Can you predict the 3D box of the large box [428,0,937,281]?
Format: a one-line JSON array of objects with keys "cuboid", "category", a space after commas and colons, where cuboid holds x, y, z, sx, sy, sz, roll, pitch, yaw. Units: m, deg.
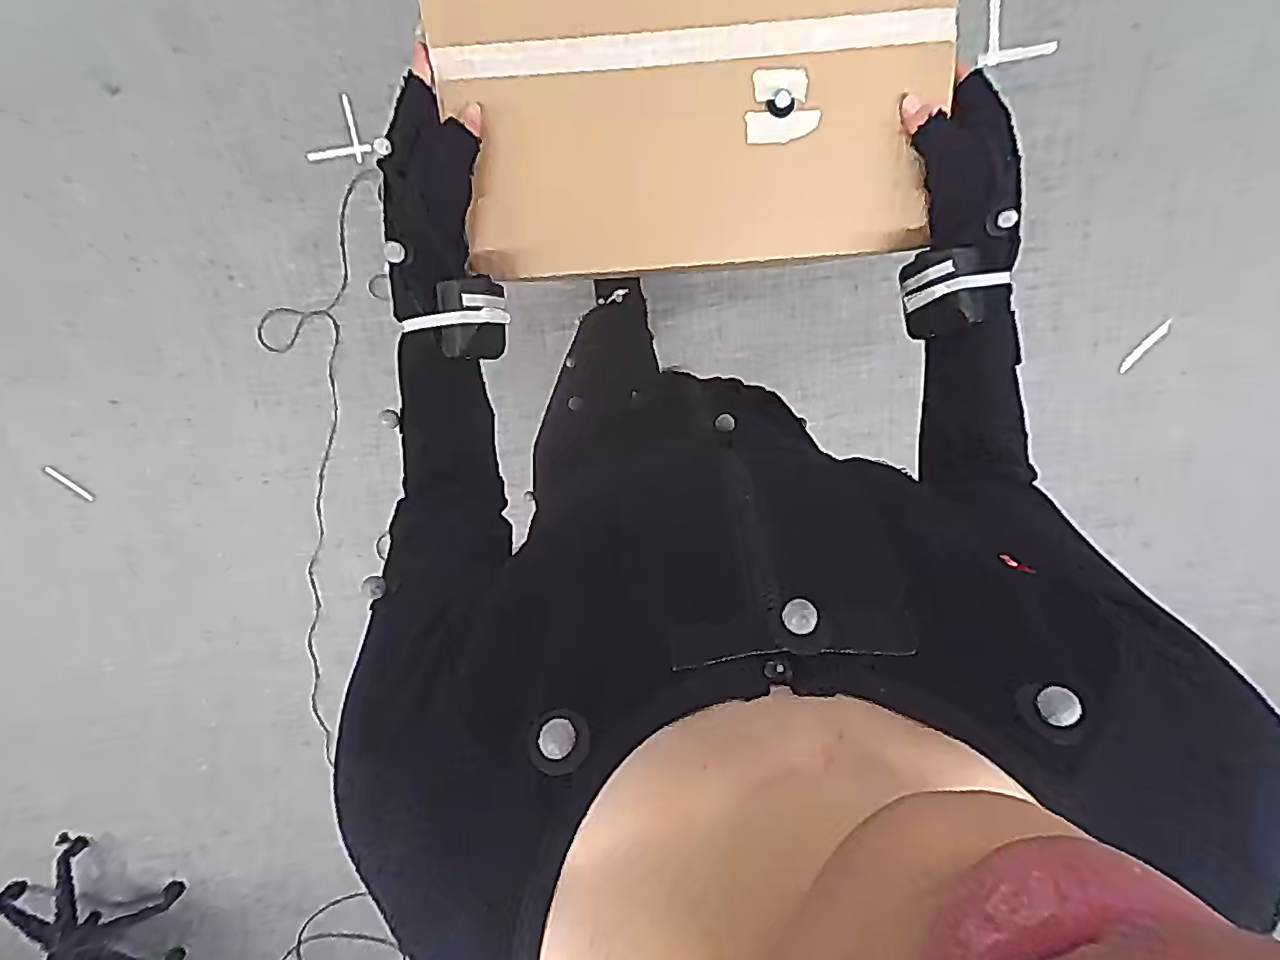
[{"cuboid": [0.031, -0.395, 0.570, 0.408, 0.320, 0.320, -4, 110, 0], "category": "large box"}]
